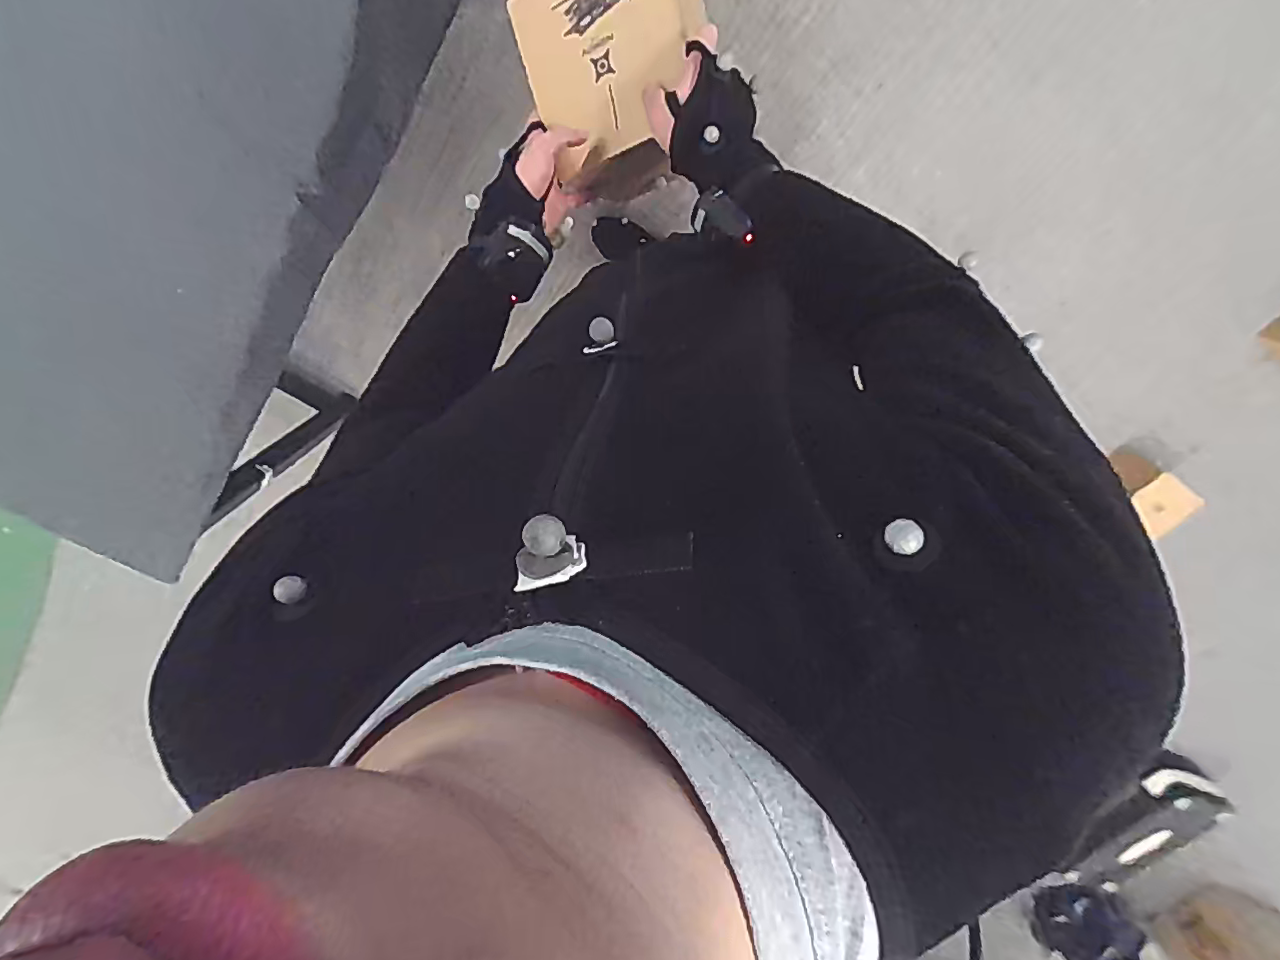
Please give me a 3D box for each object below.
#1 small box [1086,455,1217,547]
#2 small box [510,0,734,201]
[{"bbox_3d":[1.432,0.051,1.529,0.179,0.176,0.168,29,117,-13],"label":"small box"},{"bbox_3d":[-0.008,-0.434,0.591,0.168,0.176,0.179,-10,104,25],"label":"small box"}]
